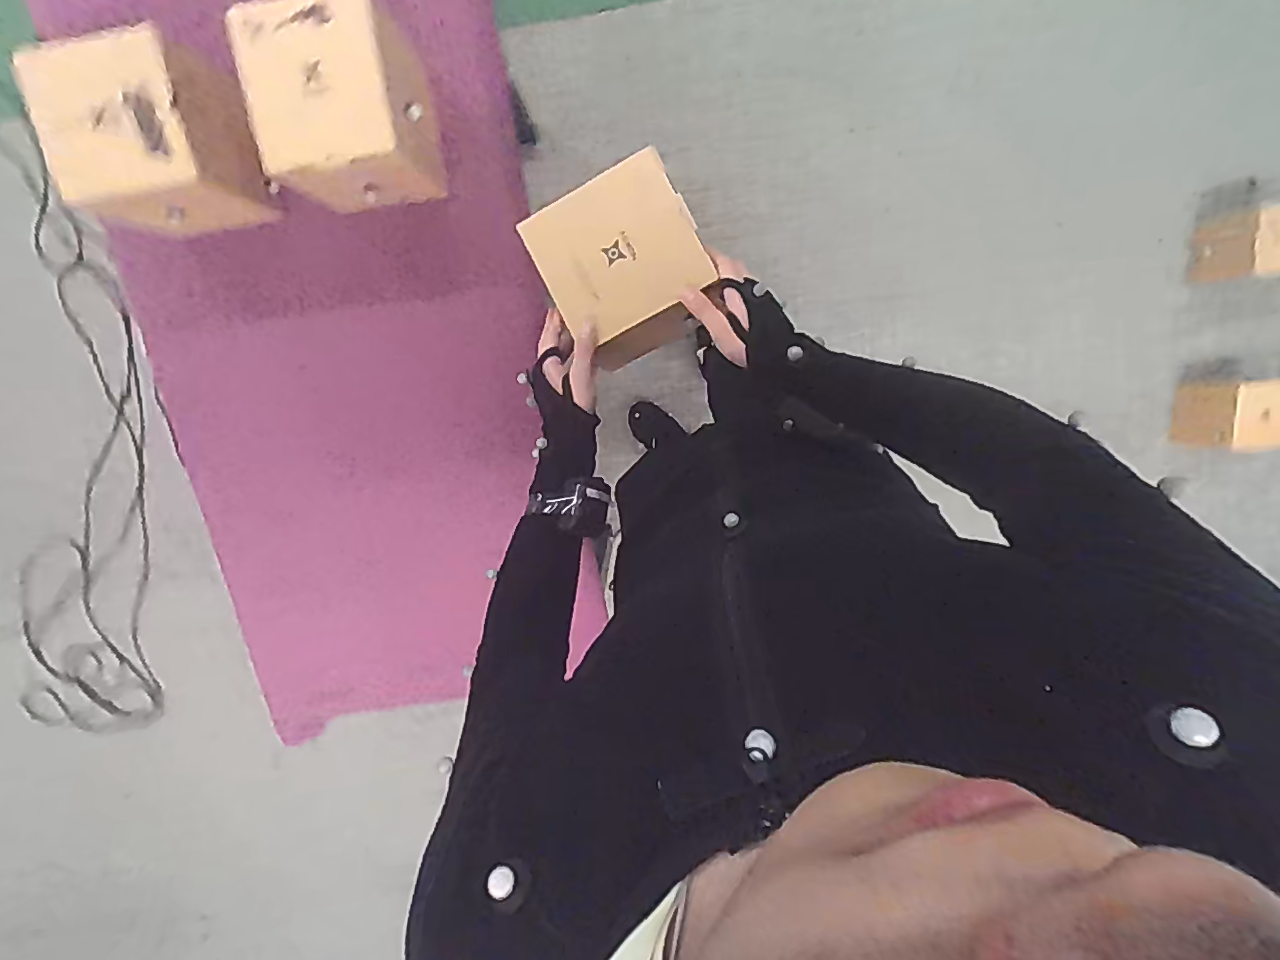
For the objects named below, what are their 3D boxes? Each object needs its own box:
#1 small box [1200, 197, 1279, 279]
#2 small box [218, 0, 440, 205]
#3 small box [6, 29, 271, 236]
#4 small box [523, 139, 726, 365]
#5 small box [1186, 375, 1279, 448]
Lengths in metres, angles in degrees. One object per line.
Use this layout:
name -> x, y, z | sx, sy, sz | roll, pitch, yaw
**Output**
small box -> 1.591, -0.612, 1.364 | 0.179, 0.176, 0.168 | -6, 101, 2
small box -> -0.377, -0.471, 0.694 | 0.168, 0.176, 0.179 | -7, 102, 4
small box -> -0.626, -0.435, 0.707 | 0.179, 0.176, 0.168 | -8, 101, 3
small box -> -0.010, -0.257, 0.657 | 0.179, 0.176, 0.168 | -25, 90, 9
small box -> 1.632, -0.188, 1.452 | 0.168, 0.176, 0.179 | -6, 102, 2
